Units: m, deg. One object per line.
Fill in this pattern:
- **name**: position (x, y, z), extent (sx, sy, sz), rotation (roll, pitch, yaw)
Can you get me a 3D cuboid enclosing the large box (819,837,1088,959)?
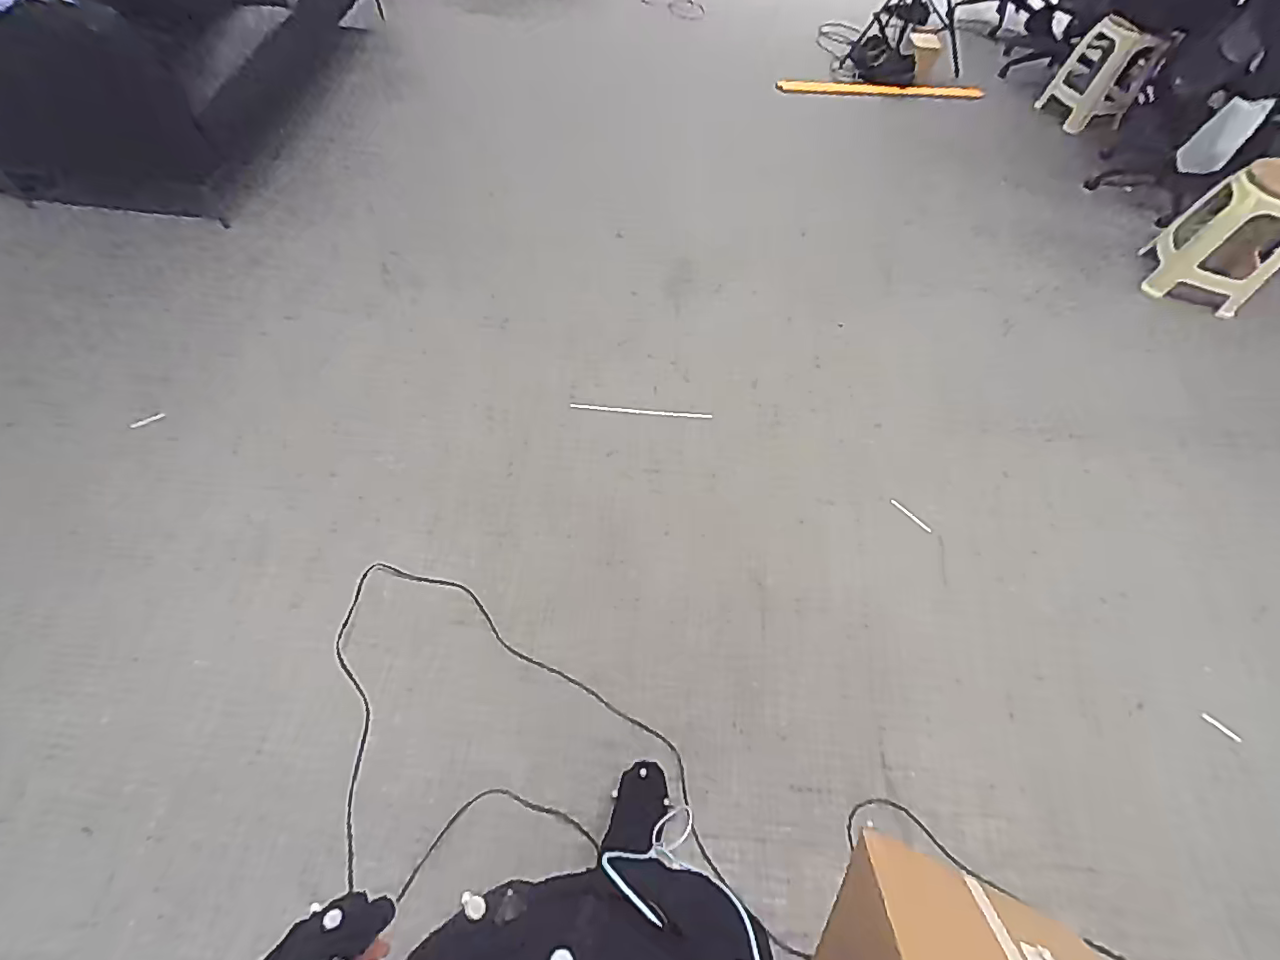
- **large box**: position (0.394, 0.737, 0.624), extent (0.320, 0.408, 0.320), rotation (21, 91, 13)
